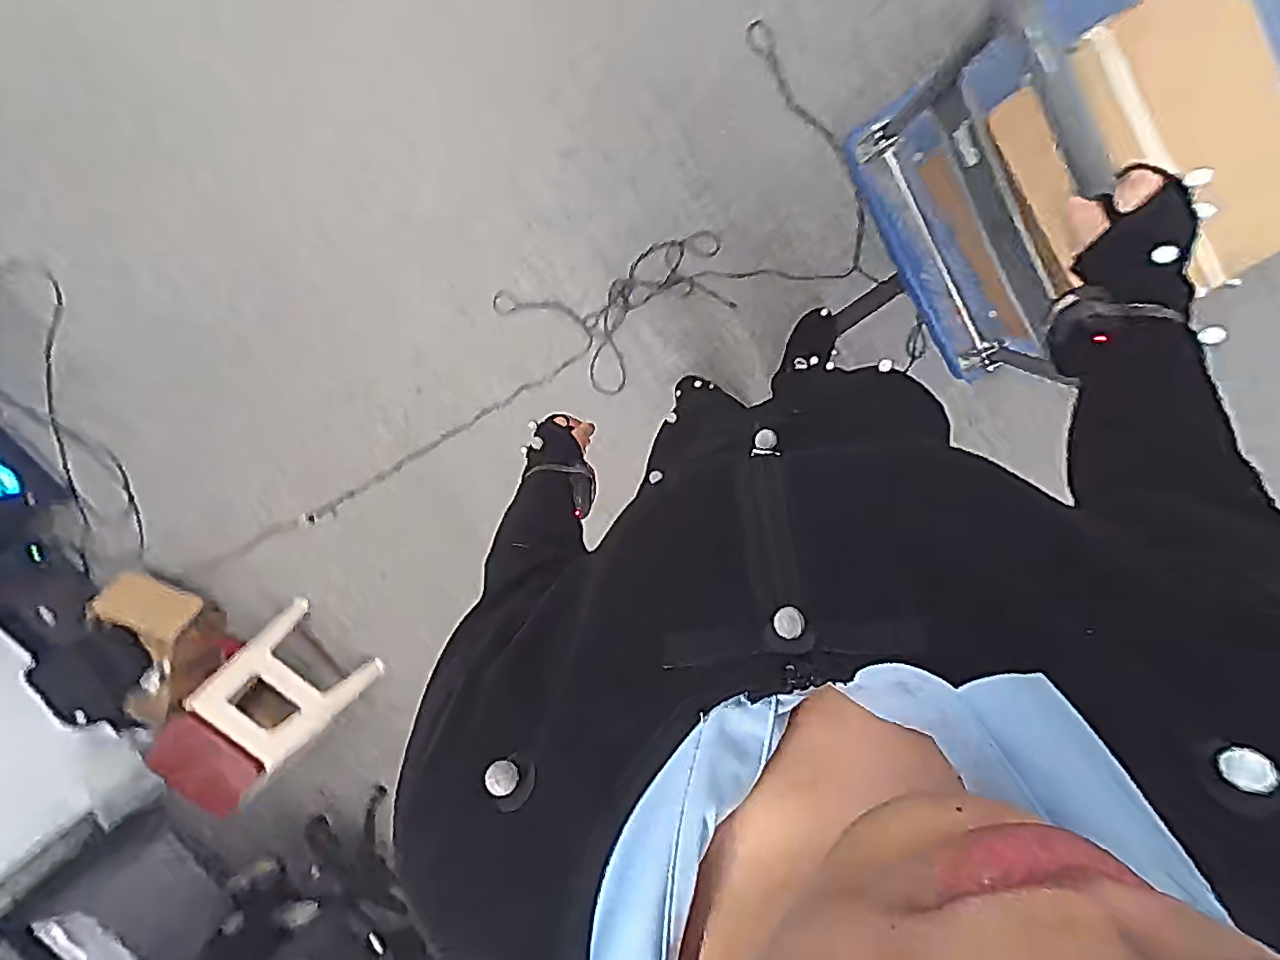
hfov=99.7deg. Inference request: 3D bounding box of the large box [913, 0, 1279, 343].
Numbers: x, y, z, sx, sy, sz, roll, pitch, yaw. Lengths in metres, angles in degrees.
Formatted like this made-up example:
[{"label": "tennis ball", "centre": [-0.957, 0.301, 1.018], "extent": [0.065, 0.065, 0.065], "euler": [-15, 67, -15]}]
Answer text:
[{"label": "large box", "centre": [0.756, -0.499, 0.930], "extent": [0.320, 0.320, 0.408], "euler": [-34, 101, 18]}]
